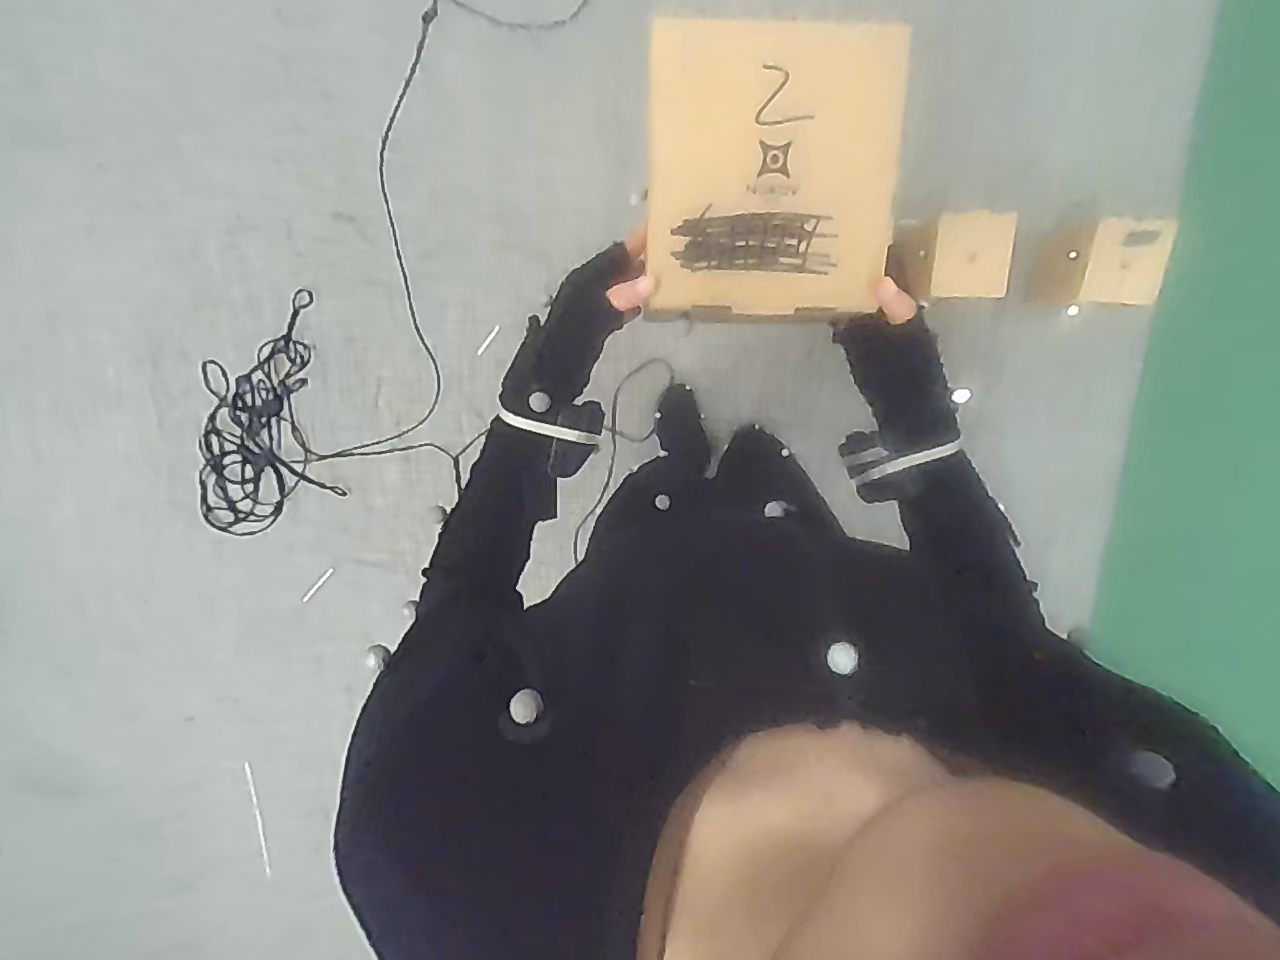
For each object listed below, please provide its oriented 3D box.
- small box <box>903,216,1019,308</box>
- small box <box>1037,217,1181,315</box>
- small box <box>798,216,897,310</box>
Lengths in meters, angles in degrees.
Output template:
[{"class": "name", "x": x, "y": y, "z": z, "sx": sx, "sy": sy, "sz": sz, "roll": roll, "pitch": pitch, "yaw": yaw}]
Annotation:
[{"class": "small box", "x": 0.726, "y": -0.494, "z": 1.243, "sx": 0.168, "sy": 0.176, "sz": 0.179, "roll": 0, "pitch": 102, "yaw": 2}, {"class": "small box", "x": 1.051, "y": -0.480, "z": 1.231, "sx": 0.168, "sy": 0.176, "sz": 0.179, "roll": 5, "pitch": 103, "yaw": 2}, {"class": "small box", "x": 0.471, "y": -0.495, "z": 1.251, "sx": 0.168, "sy": 0.176, "sz": 0.179, "roll": 2, "pitch": 102, "yaw": 3}]
